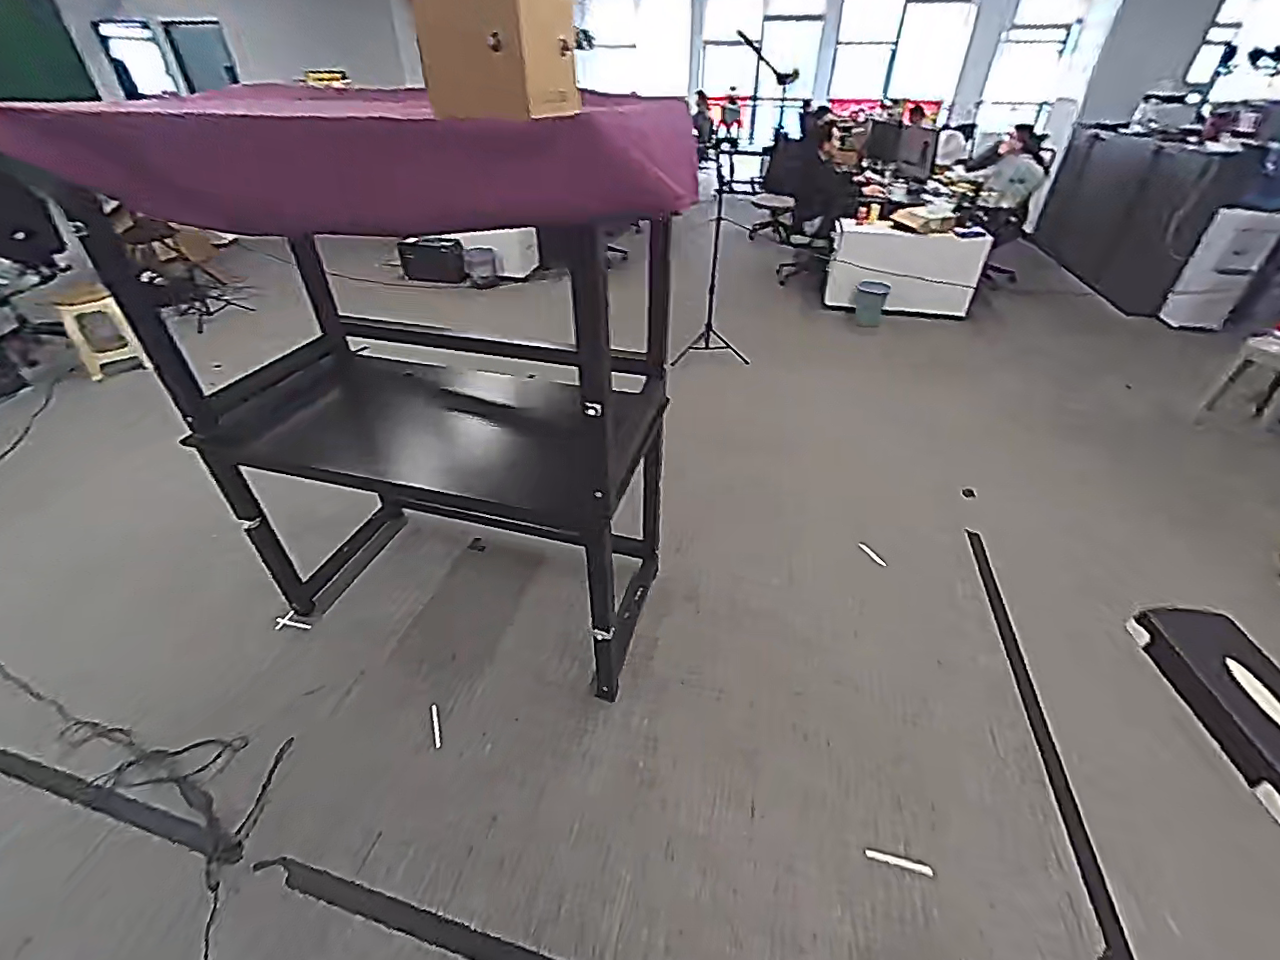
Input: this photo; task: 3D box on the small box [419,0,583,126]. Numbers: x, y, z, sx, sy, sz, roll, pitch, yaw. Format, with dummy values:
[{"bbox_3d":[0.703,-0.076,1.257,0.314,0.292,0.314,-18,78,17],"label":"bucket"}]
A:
[{"bbox_3d":[-0.198,-0.644,0.818,0.179,0.176,0.168,13,37,18],"label":"small box"}]
